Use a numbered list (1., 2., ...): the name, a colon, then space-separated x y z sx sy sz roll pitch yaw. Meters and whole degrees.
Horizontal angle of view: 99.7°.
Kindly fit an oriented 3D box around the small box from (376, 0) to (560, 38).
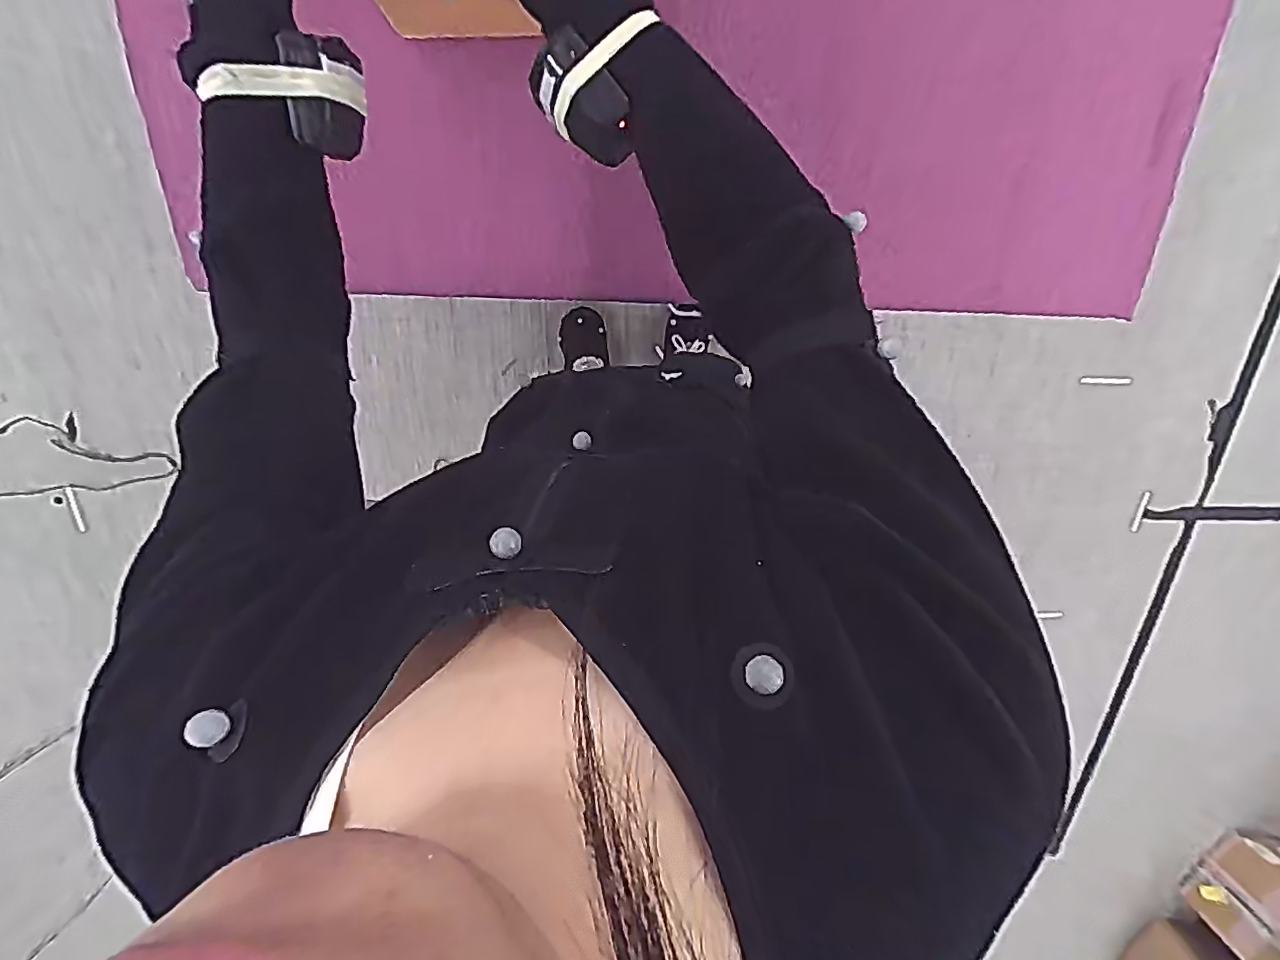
1. small box: -0.163 -0.524 0.477 0.179 0.176 0.168 -4 111 -4
